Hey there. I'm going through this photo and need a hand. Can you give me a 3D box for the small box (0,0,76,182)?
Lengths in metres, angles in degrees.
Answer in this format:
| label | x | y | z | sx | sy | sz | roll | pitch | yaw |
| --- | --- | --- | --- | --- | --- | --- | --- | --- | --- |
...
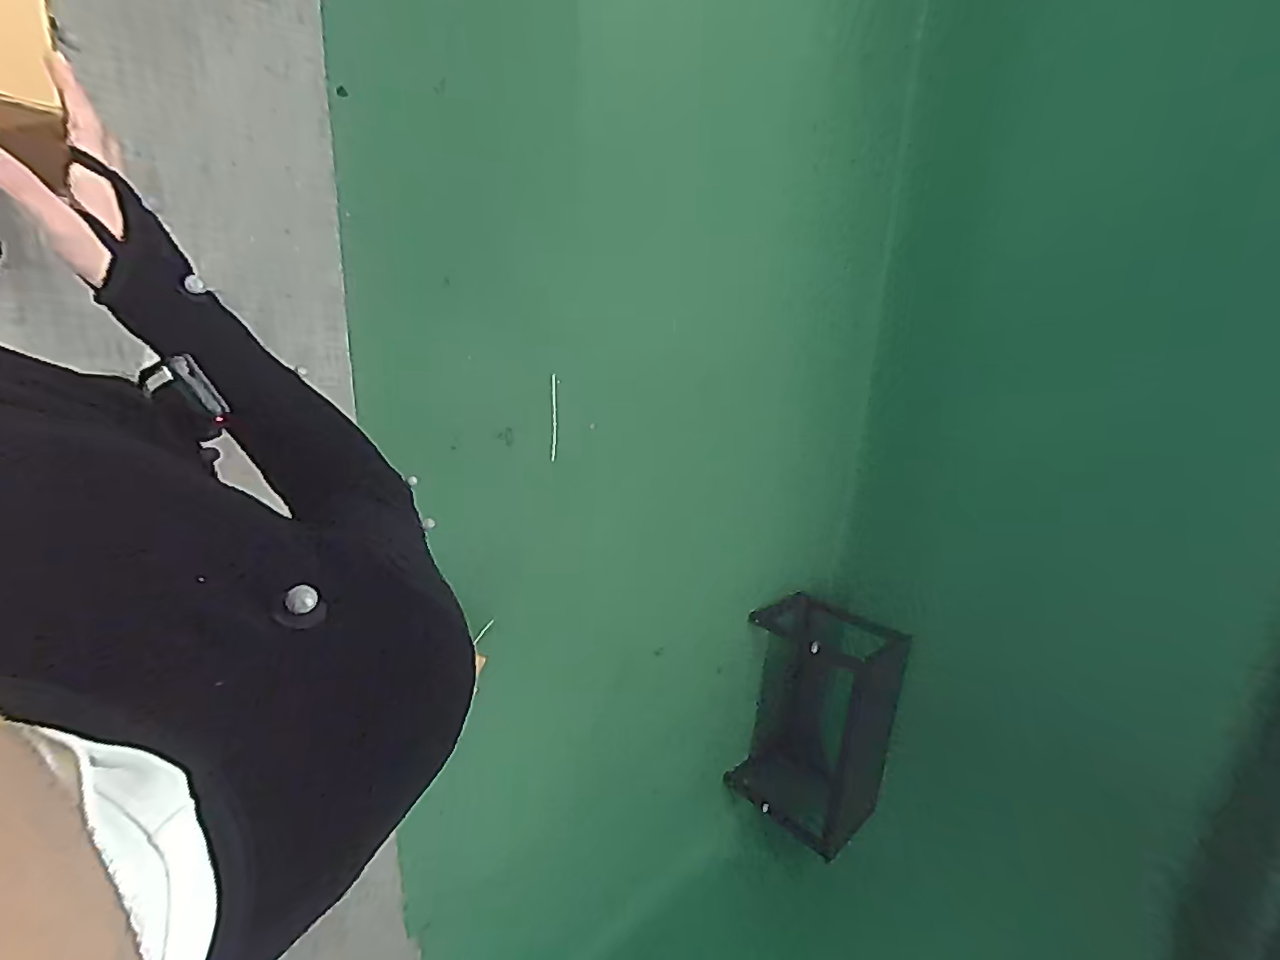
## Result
| label | x | y | z | sx | sy | sz | roll | pitch | yaw |
| --- | --- | --- | --- | --- | --- | --- | --- | --- | --- |
| small box | -0.540 | -0.353 | 0.390 | 0.168 | 0.176 | 0.179 | -10 | 98 | -43 |
